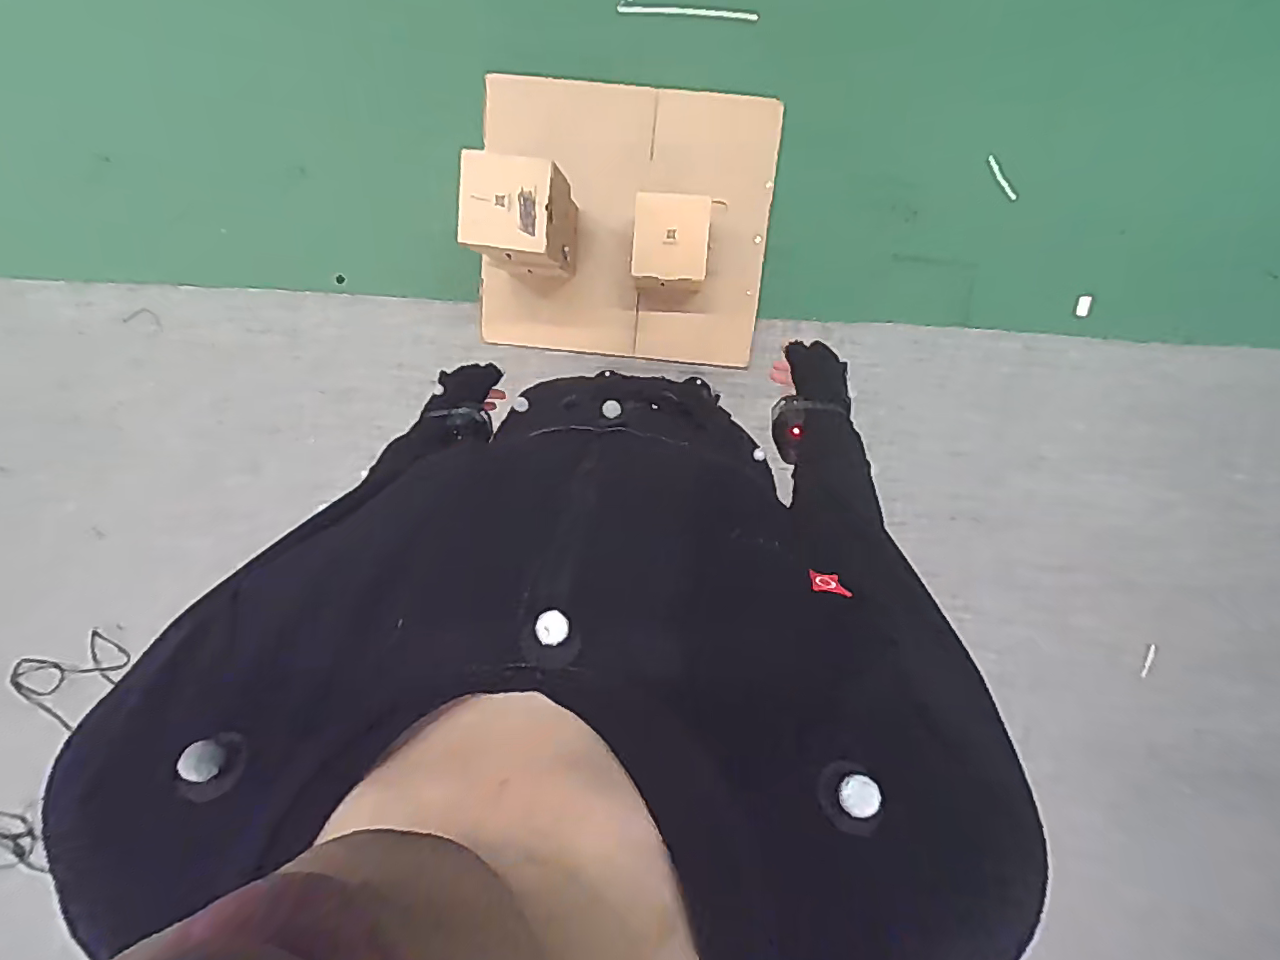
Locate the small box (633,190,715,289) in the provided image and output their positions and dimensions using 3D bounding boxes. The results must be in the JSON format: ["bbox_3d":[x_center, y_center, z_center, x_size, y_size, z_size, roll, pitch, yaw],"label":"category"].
[{"bbox_3d":[0.074,-0.546,1.244,0.168,0.176,0.179,4,105,2],"label":"small box"}]

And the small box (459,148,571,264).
[{"bbox_3d":[-0.244,-0.541,1.088,0.179,0.176,0.168,9,104,3],"label":"small box"}]
